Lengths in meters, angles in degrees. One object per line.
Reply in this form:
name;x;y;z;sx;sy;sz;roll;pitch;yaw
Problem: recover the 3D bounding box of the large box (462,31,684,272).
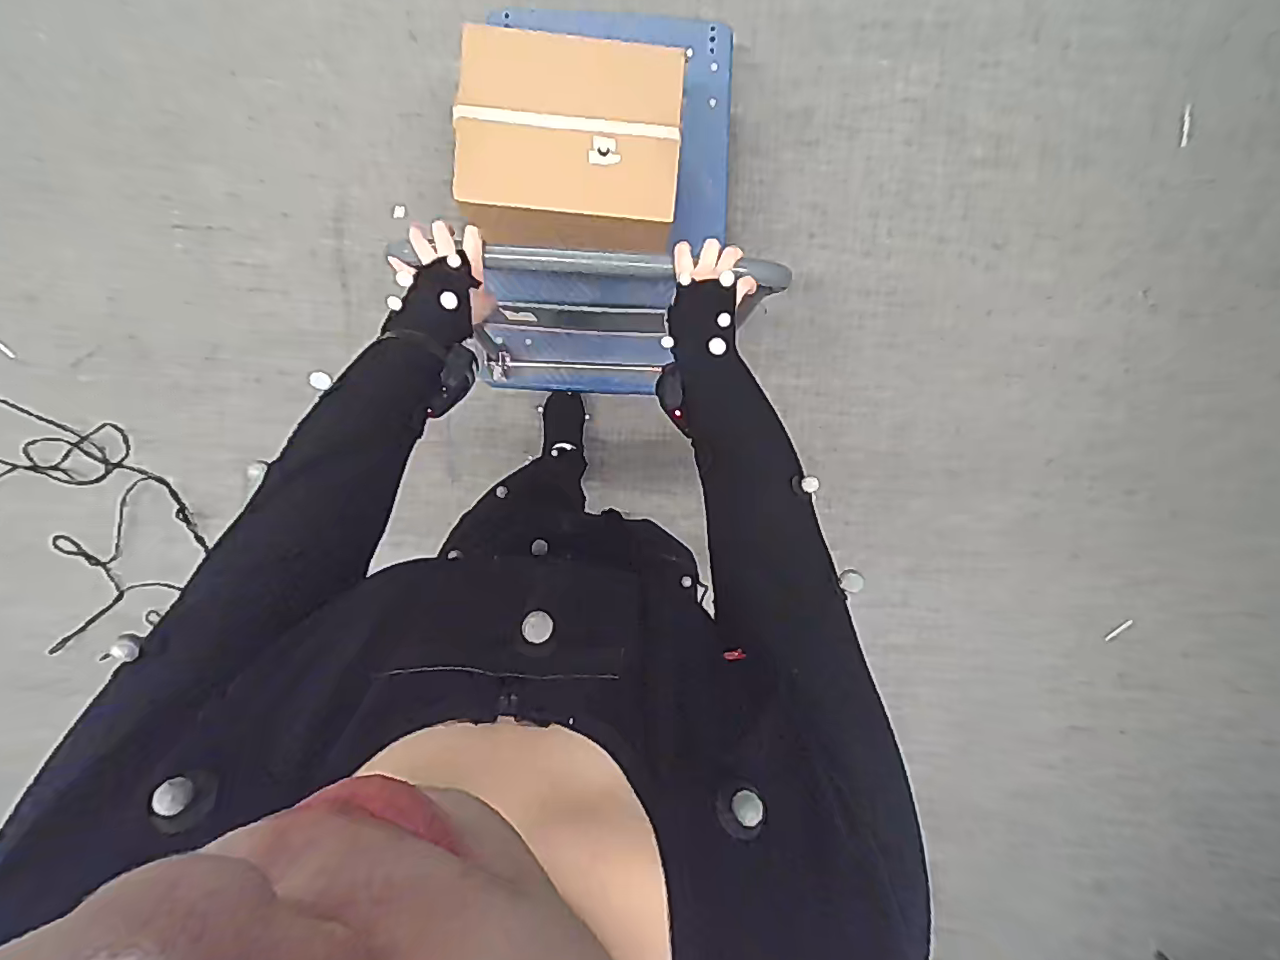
large box;-0.134;-0.661;1.148;0.408;0.320;0.320;4;93;-4
